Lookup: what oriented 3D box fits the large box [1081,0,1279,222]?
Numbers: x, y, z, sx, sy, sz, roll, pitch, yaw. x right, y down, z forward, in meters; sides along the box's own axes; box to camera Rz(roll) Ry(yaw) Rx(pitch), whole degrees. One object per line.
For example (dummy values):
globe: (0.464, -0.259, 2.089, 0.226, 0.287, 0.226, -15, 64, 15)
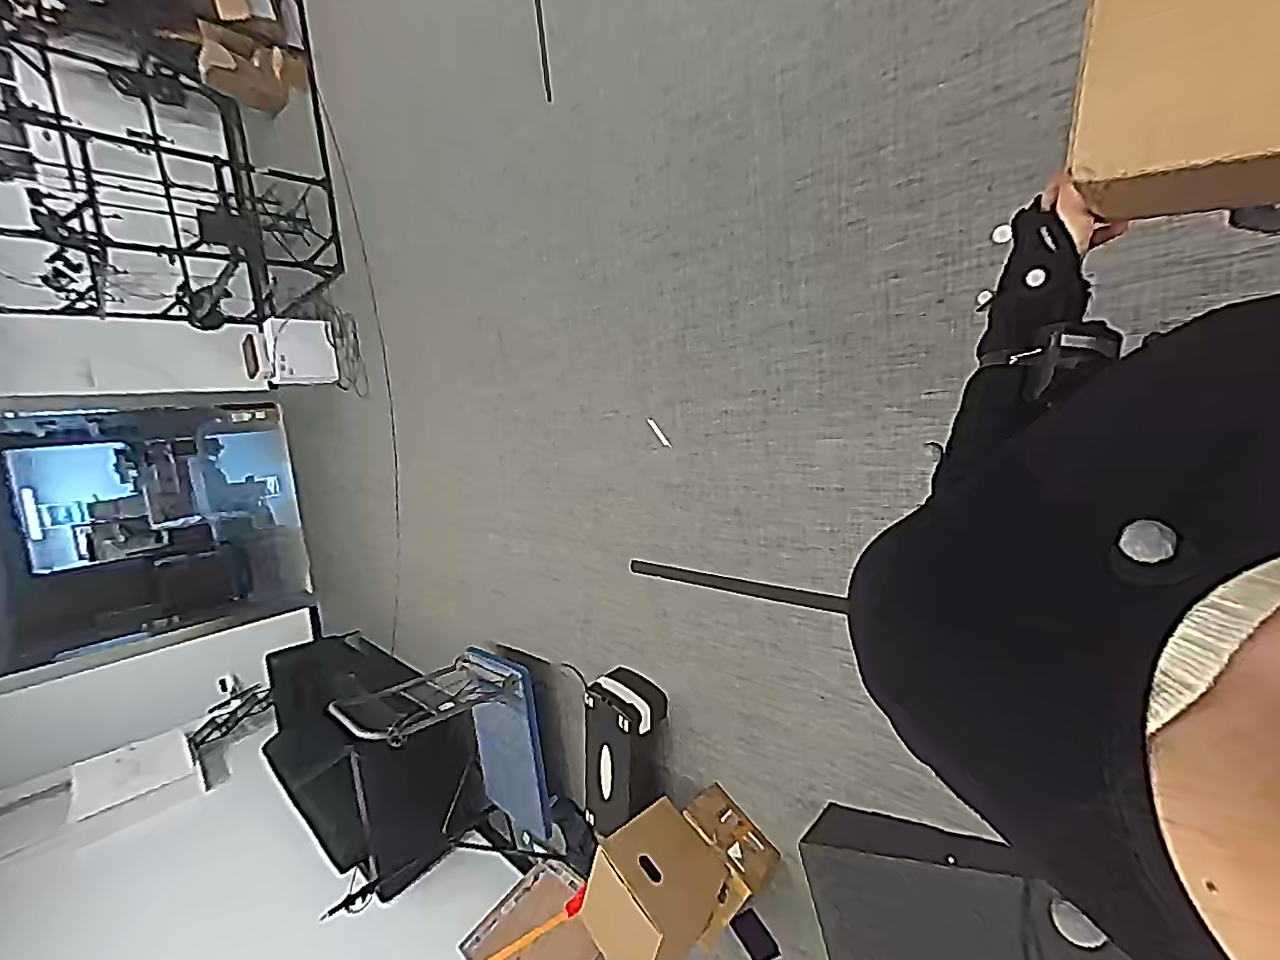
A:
large box: (0.432, -0.301, 0.190, 0.408, 0.320, 0.320, 10, 113, 38)
